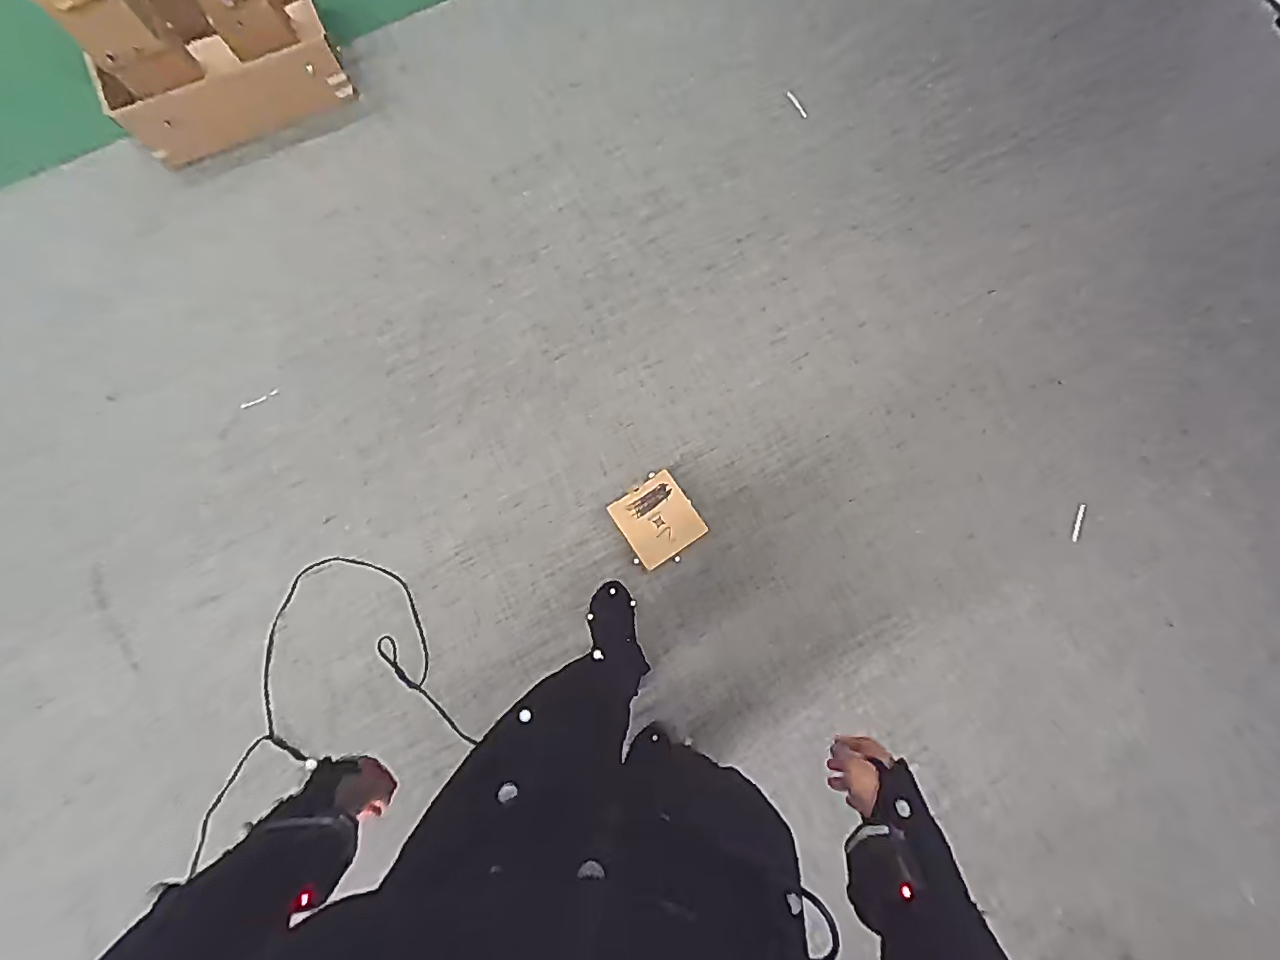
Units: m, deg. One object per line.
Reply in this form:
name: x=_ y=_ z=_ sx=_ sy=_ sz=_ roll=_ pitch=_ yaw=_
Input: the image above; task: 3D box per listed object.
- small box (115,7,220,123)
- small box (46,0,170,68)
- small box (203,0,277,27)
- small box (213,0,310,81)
small box: x=-1.352 y=-1.171 z=1.534 sx=0.168 sy=0.176 sz=0.179 roll=-28 pitch=79 yaw=-5
small box: x=-1.353 y=-1.194 z=1.372 sx=0.168 sy=0.176 sz=0.179 roll=-26 pitch=78 yaw=-6
small box: x=-1.103 y=-1.347 z=1.406 sx=0.168 sy=0.176 sz=0.179 roll=-32 pitch=82 yaw=-4
small box: x=-1.101 y=-1.317 z=1.567 sx=0.168 sy=0.176 sz=0.179 roll=-22 pitch=79 yaw=-3
